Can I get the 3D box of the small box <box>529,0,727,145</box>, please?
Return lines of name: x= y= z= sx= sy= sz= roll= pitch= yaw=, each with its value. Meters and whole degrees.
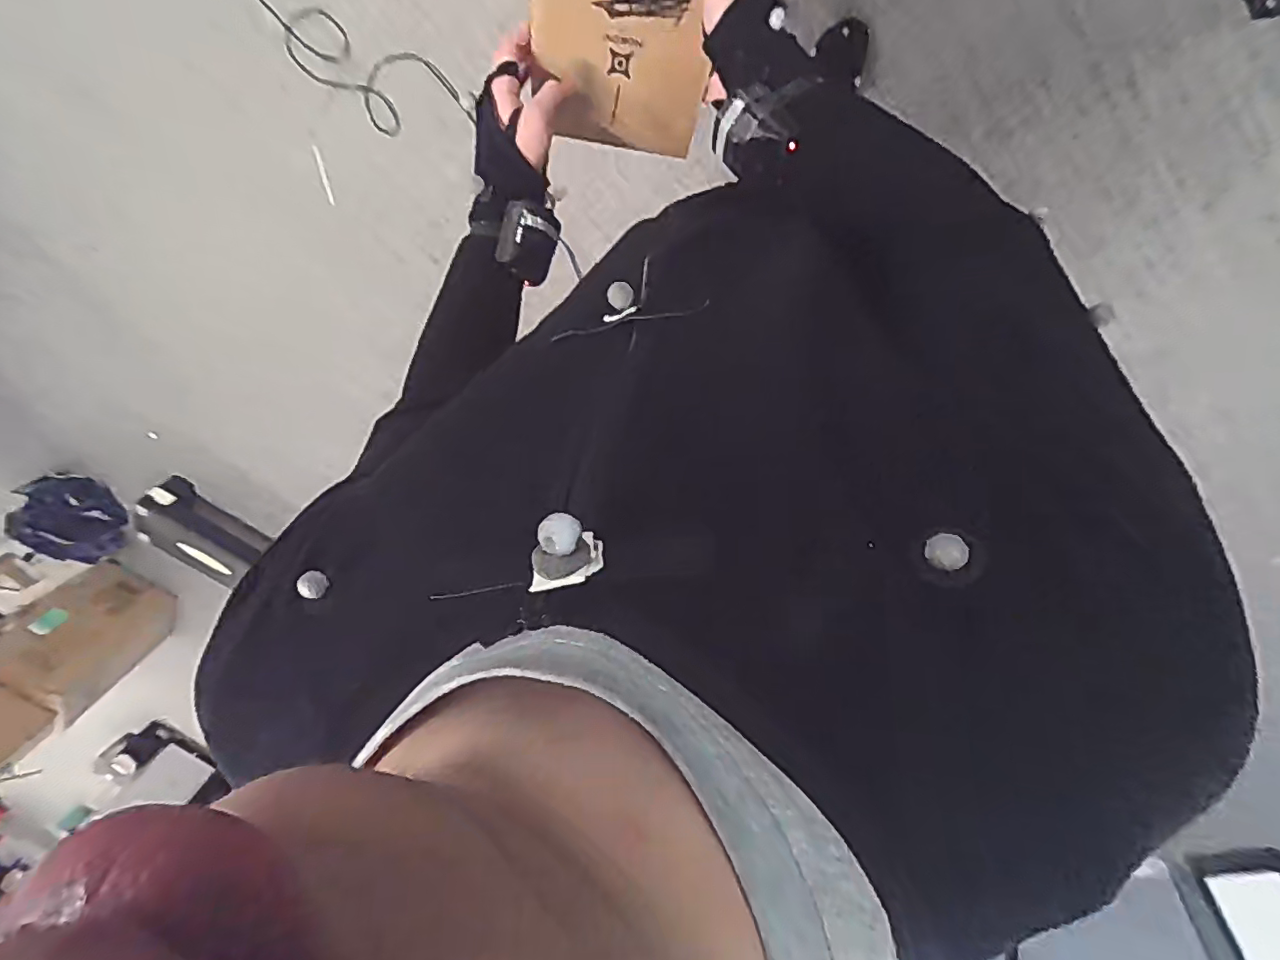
small box: x=-0.013 y=-0.464 z=0.506 sx=0.168 sy=0.176 sz=0.179 roll=6 pitch=155 yaw=-8

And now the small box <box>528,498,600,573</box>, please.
small box: x=-0.266 y=0.198 z=1.952 sx=0.168 sy=0.176 sz=0.179 roll=41 pitch=127 yaw=-11
